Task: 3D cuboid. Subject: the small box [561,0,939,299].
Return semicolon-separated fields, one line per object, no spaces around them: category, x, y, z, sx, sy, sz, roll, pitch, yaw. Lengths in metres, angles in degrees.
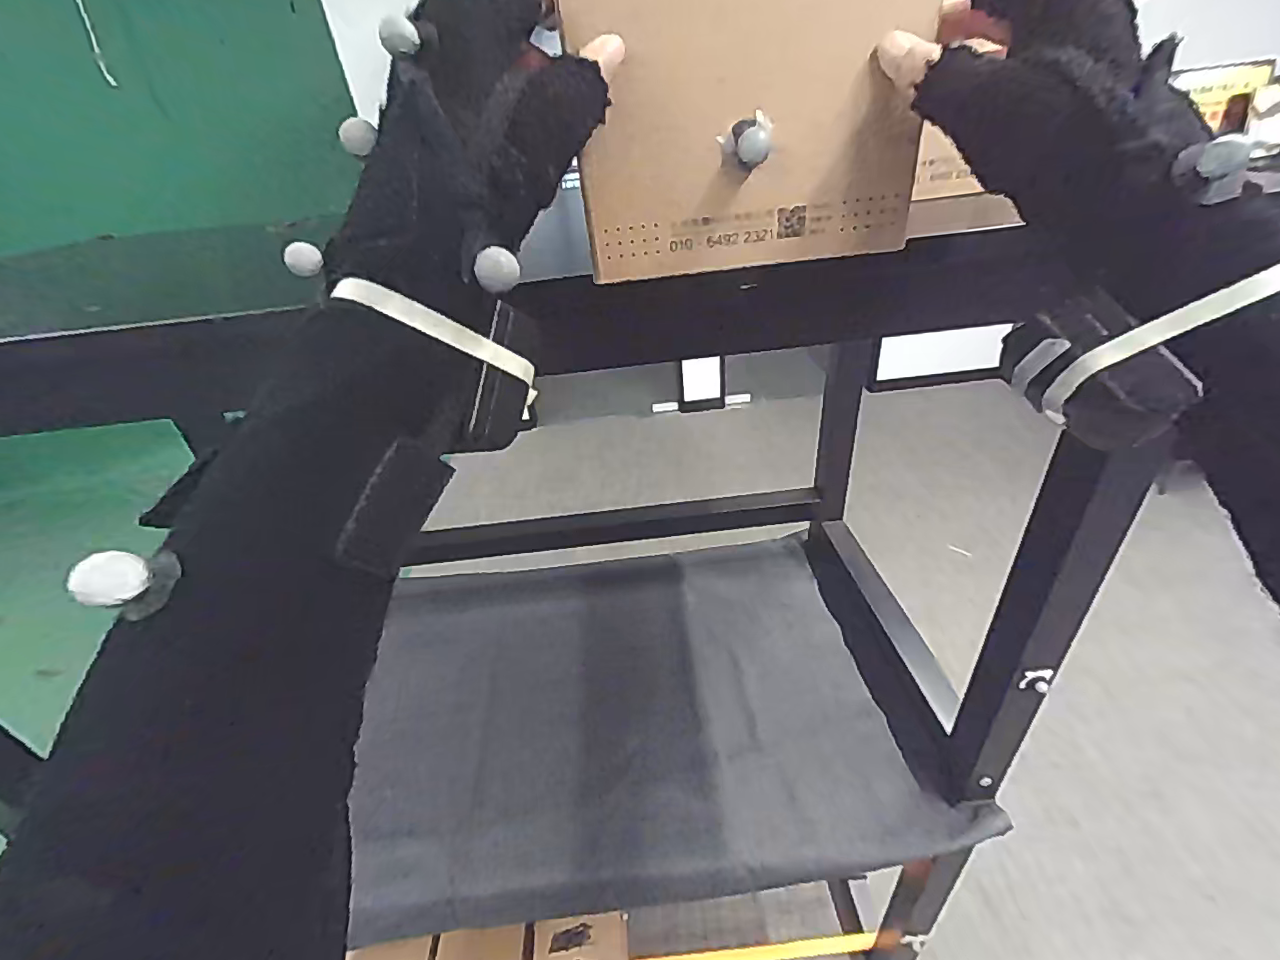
small box;0.048;-0.217;0.322;0.168;0.176;0.179;-6;33;2
